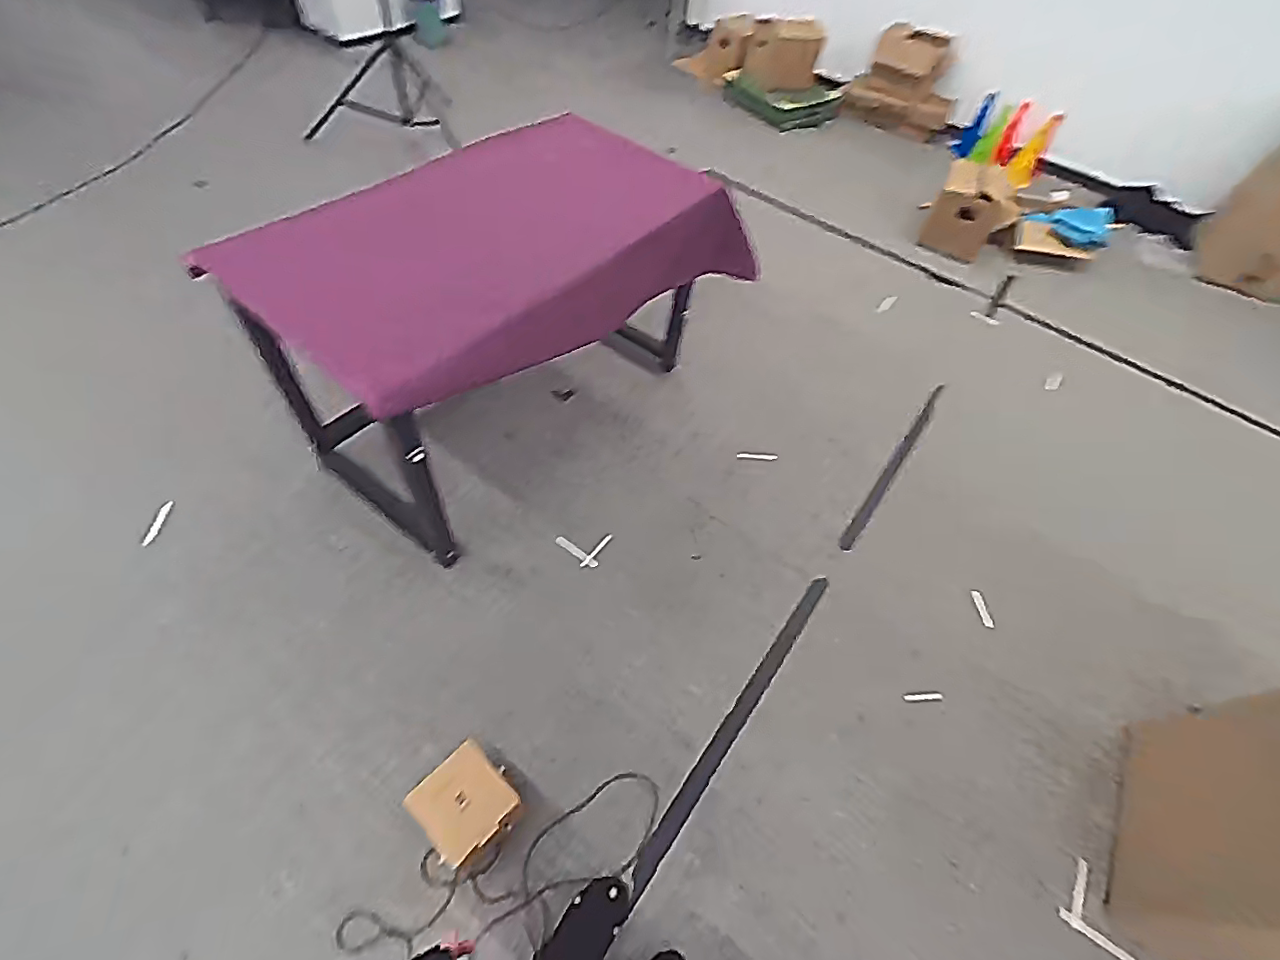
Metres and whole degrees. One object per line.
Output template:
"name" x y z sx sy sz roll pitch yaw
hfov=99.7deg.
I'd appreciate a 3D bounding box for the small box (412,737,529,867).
"small box" -0.359 0.705 1.180 0.179 0.176 0.168 38 56 22
